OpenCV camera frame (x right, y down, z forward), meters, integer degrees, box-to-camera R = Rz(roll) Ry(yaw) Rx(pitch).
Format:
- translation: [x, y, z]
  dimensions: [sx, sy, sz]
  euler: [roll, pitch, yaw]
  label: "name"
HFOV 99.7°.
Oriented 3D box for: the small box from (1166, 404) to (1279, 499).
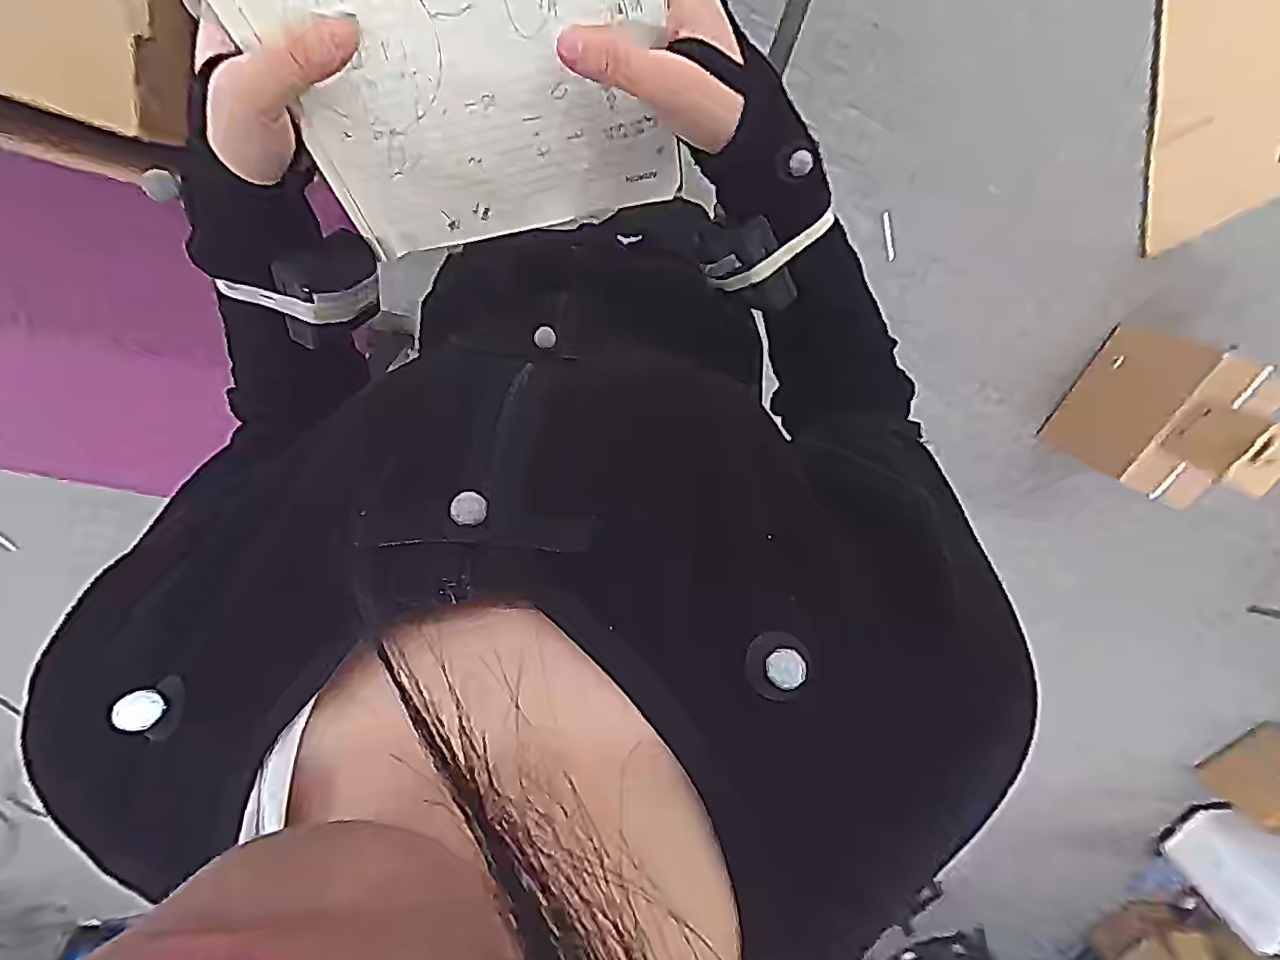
- translation: [1.544, -0.080, 1.399]
  dimensions: [0.179, 0.176, 0.168]
  euler: [18, 114, -18]
  label: "small box"
